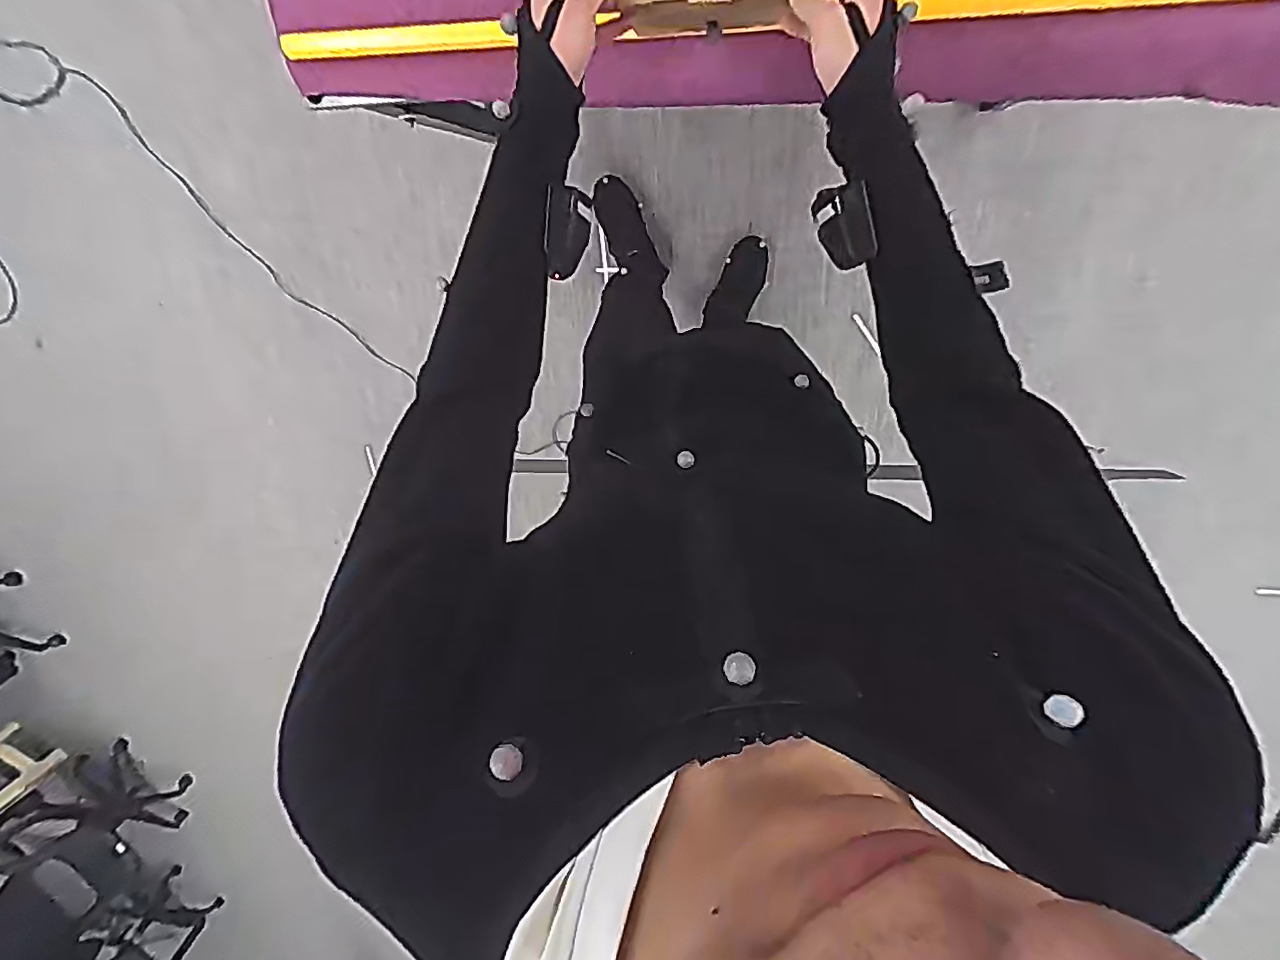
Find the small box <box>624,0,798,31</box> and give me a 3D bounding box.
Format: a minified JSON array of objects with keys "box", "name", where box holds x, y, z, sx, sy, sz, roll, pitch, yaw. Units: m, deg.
[{"box":[0.059,-0.503,0.449,0.168,0.176,0.179,1,123,7],"name":"small box"}]
